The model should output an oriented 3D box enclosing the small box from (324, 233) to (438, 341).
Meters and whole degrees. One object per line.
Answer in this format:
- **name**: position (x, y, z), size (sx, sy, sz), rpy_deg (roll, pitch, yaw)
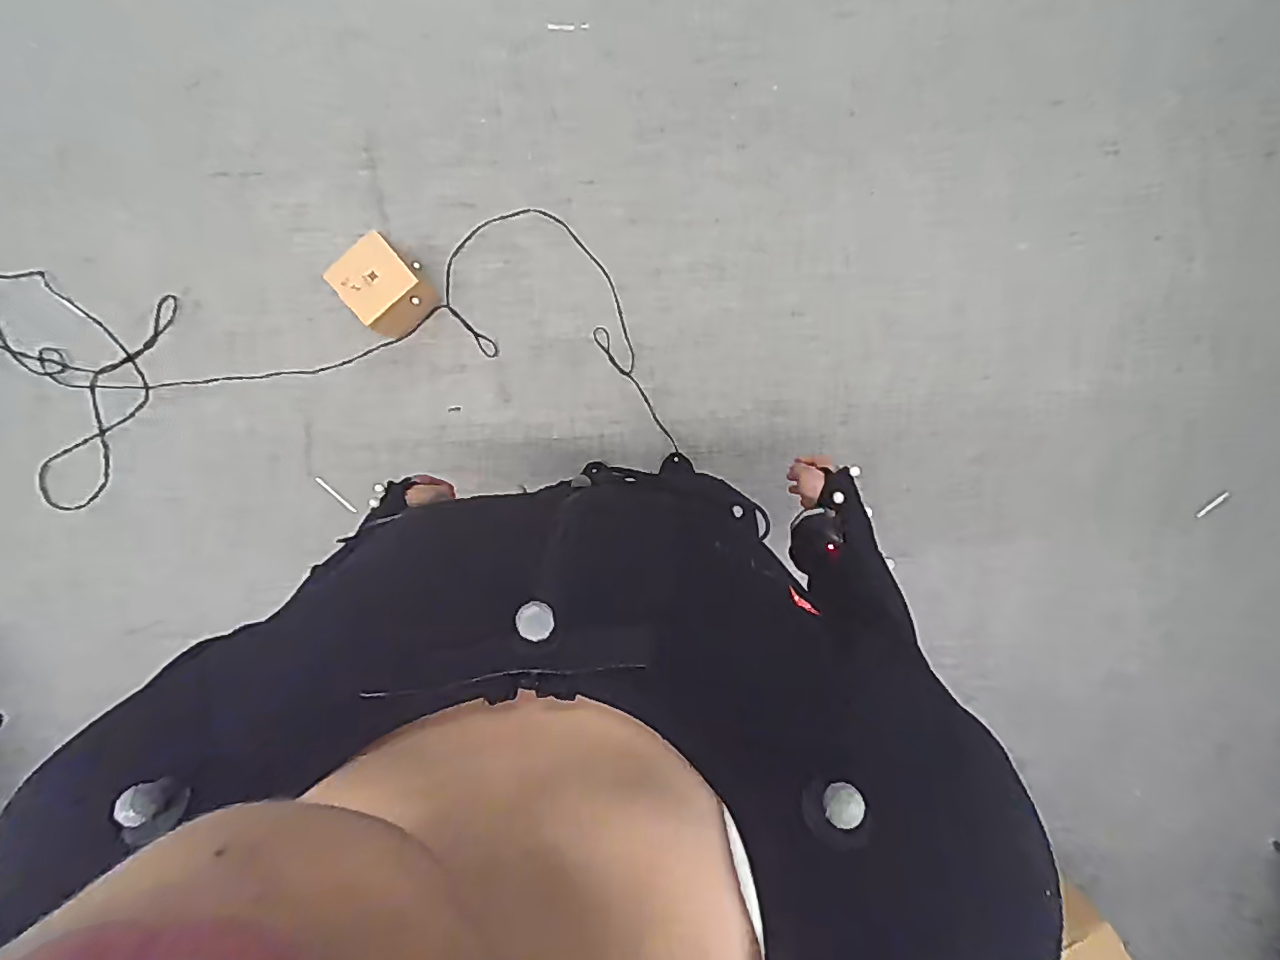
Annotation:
- **small box**: position (-0.647, -0.485, 1.383), size (0.179, 0.176, 0.168), rpy_deg (-40, 91, 3)
